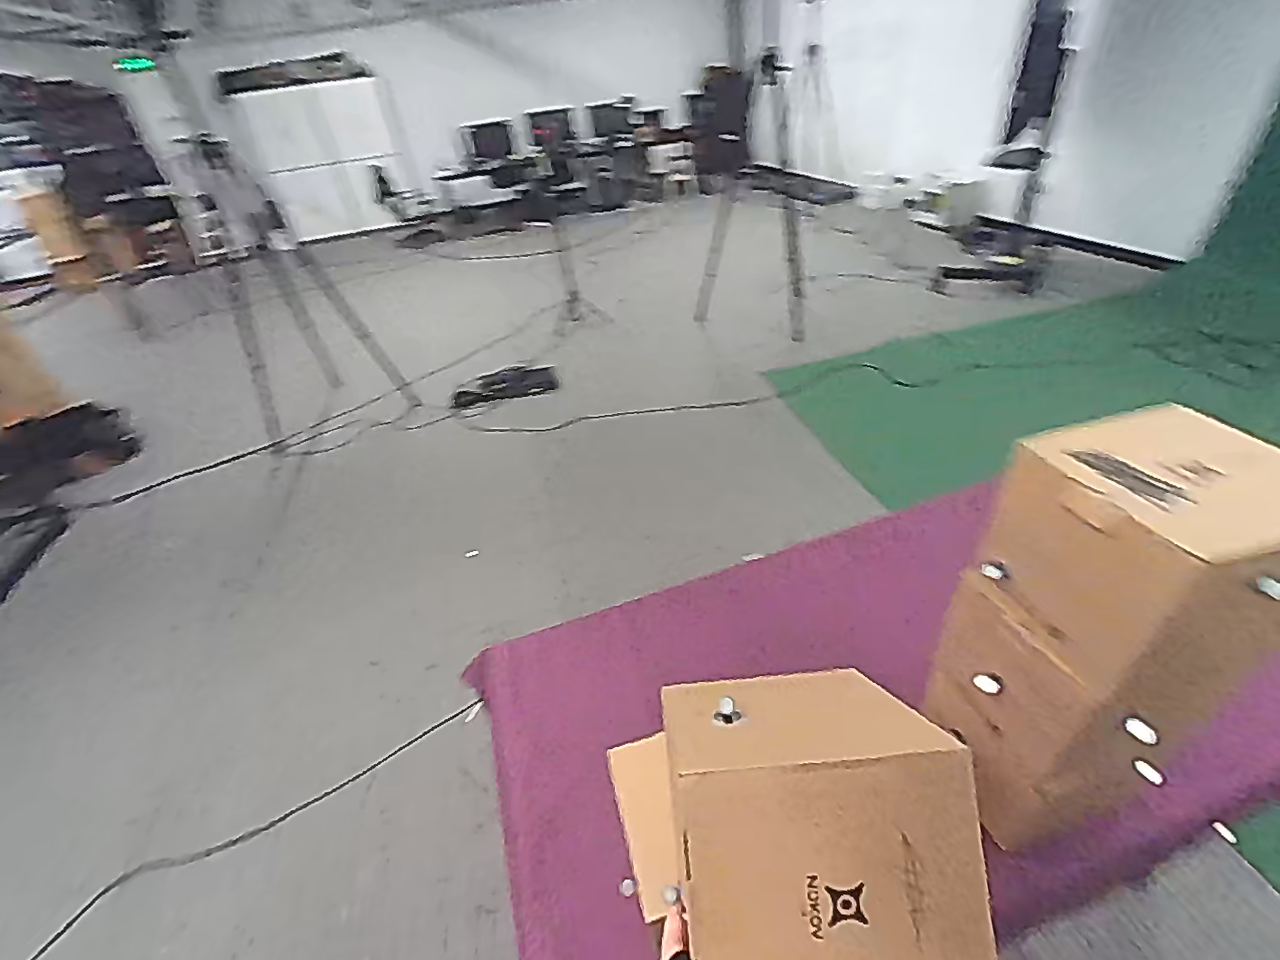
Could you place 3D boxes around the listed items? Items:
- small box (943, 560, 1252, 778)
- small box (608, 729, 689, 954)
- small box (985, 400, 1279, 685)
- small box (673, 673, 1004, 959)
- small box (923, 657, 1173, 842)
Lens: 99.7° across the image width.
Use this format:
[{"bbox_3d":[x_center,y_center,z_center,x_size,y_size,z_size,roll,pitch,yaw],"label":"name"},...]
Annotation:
[{"bbox_3d":[0.457,0.185,0.580,0.179,0.176,0.168,-14,37,-6],"label":"small box"},{"bbox_3d":[0.071,0.413,0.633,0.168,0.176,0.179,-15,37,-8],"label":"small box"},{"bbox_3d":[0.445,0.054,0.481,0.179,0.176,0.168,-12,37,-7],"label":"small box"},{"bbox_3d":[0.116,0.248,0.385,0.179,0.168,0.176,-5,-3,-1],"label":"small box"},{"bbox_3d":[0.485,0.313,0.679,0.179,0.176,0.168,-16,37,-10],"label":"small box"}]
